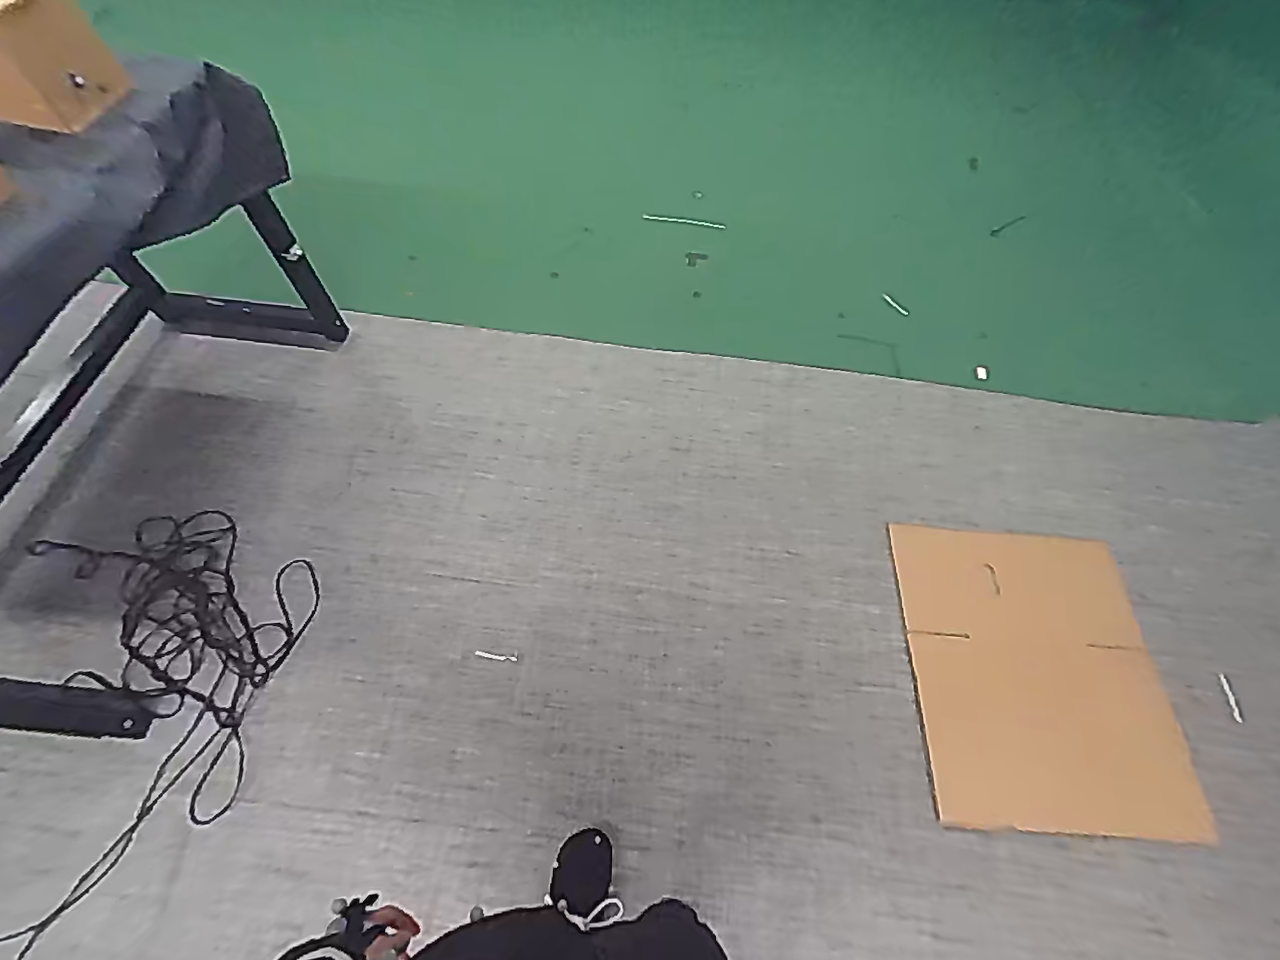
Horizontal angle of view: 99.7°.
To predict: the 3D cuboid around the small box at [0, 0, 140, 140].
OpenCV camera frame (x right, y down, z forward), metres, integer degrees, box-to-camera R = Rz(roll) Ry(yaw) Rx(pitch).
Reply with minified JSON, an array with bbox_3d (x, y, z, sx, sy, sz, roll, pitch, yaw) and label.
[{"bbox_3d":[-1.036,-0.712,0.919,0.179,0.176,0.168,10,61,3],"label":"small box"}]
